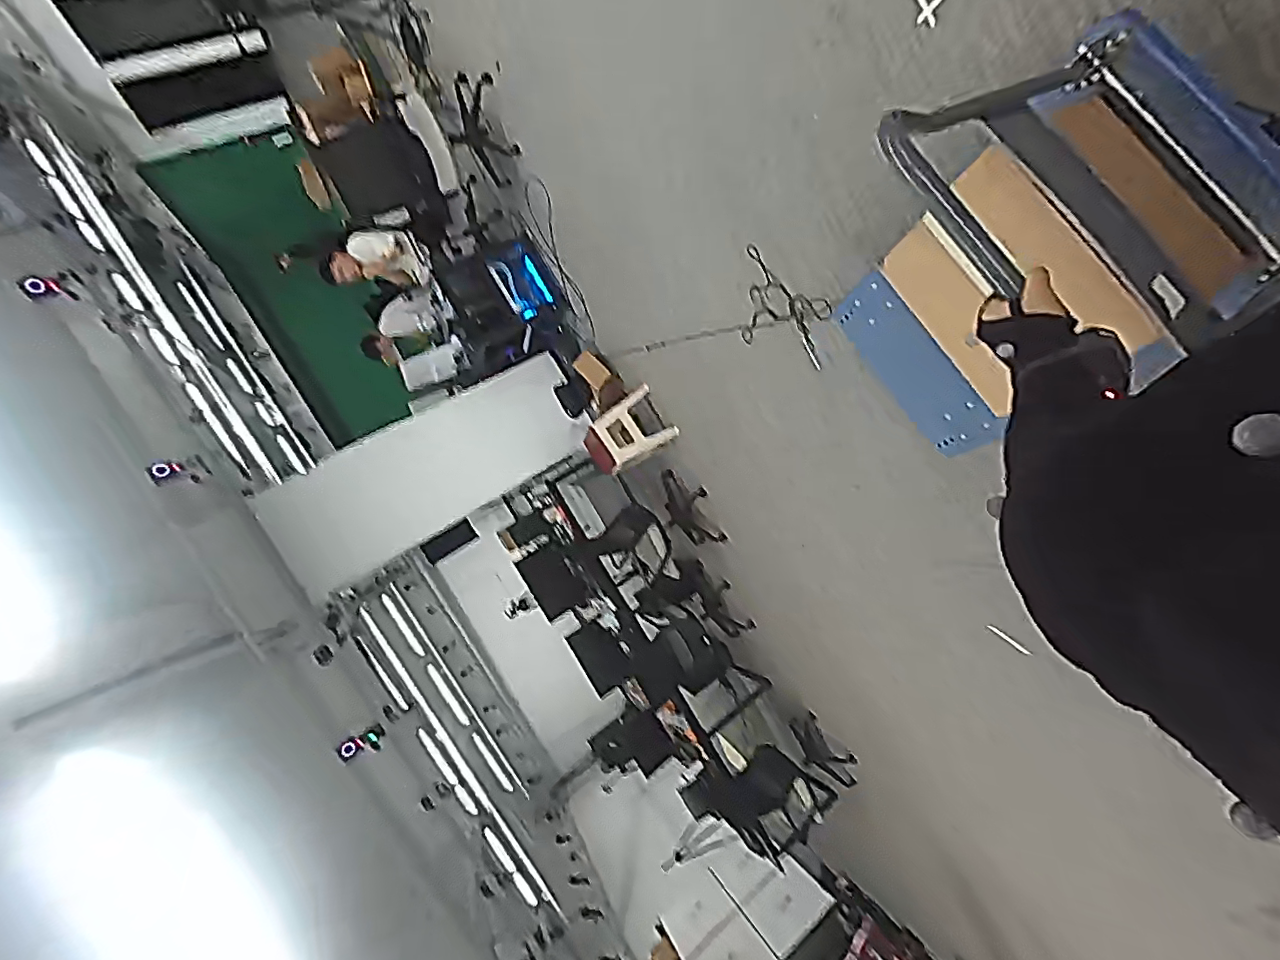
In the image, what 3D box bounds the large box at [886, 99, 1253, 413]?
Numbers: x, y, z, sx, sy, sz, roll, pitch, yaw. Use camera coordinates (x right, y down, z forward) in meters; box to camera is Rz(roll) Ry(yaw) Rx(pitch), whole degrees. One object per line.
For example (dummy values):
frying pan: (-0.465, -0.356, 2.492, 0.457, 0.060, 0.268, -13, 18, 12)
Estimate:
large box: (0.781, -0.410, 1.029, 0.408, 0.320, 0.320, 57, 160, 8)
